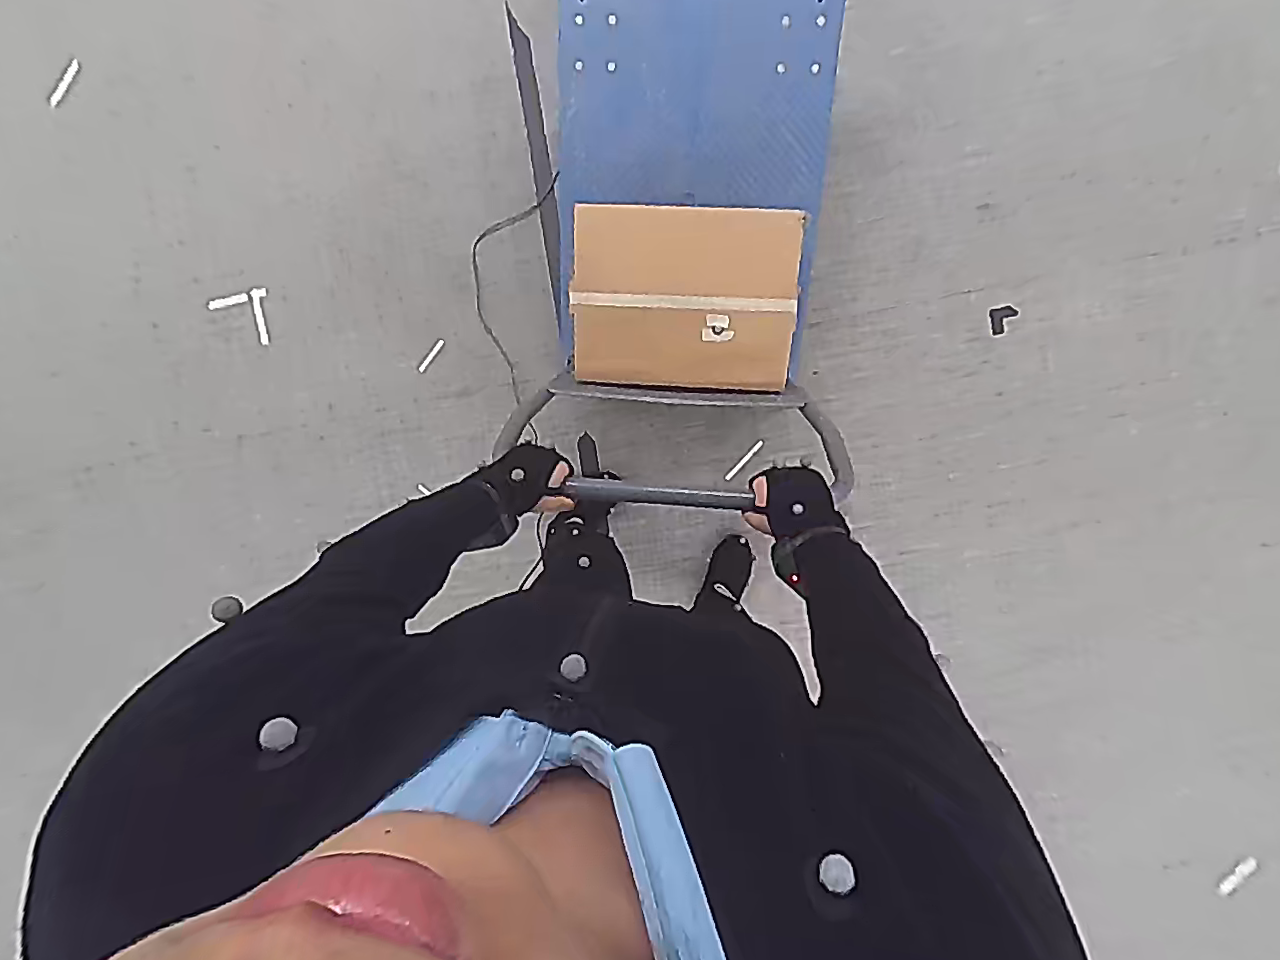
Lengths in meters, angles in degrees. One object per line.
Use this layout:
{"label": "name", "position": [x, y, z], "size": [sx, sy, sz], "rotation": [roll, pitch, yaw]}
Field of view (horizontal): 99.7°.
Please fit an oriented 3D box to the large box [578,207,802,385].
{"label": "large box", "position": [0.093, -0.378, 1.142], "size": [0.408, 0.320, 0.320], "rotation": [2, 109, 3]}
